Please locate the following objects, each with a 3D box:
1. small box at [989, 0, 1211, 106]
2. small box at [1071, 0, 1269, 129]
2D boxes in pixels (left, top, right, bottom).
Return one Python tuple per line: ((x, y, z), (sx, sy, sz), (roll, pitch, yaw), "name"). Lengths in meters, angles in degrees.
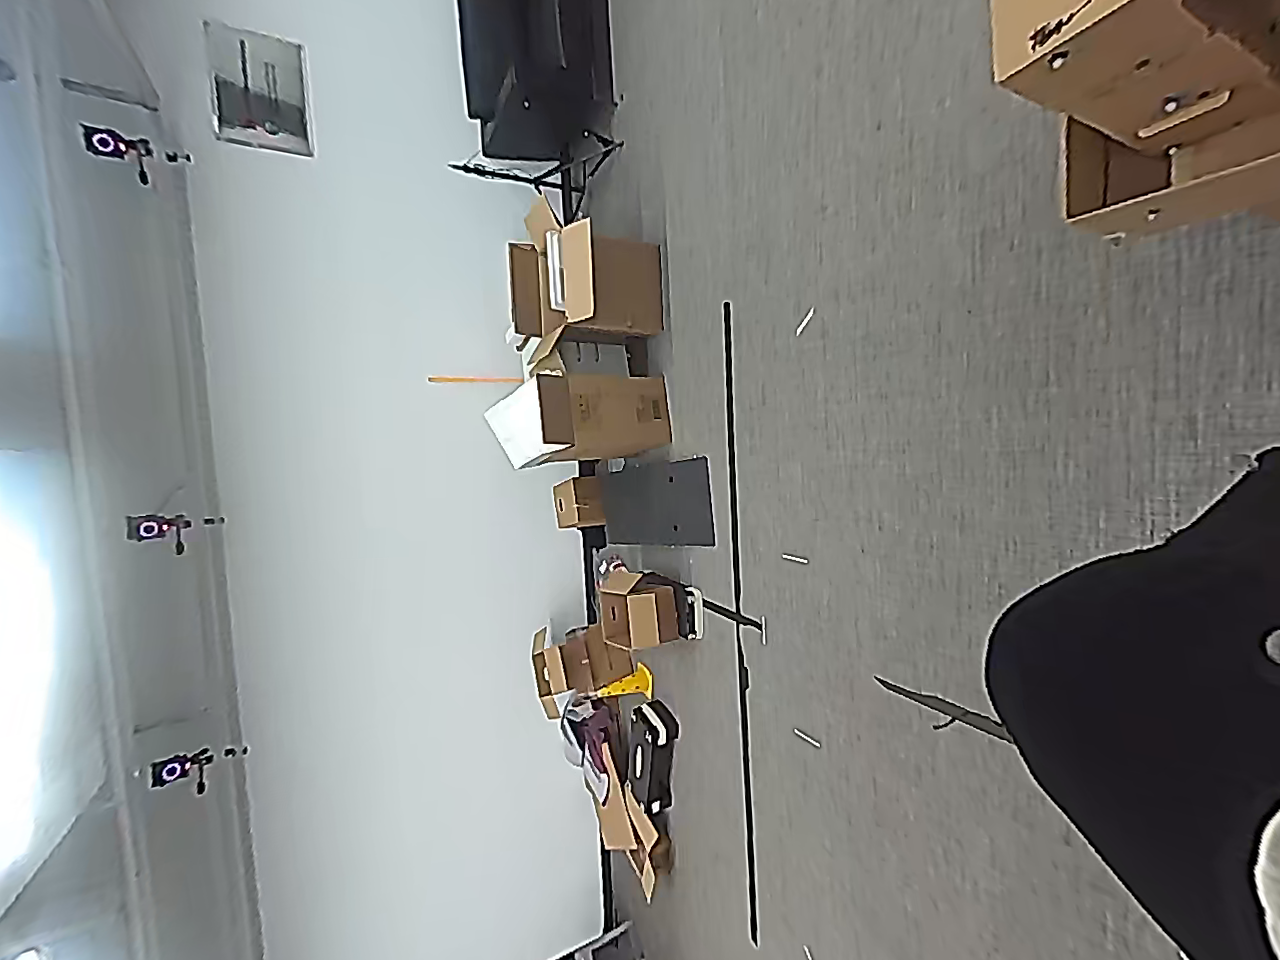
((0.570, -0.618, 0.676), (0.168, 0.176, 0.179), (1, 94, 64), "small box")
((0.720, -0.630, 0.746), (0.168, 0.176, 0.179), (1, 95, 63), "small box")
